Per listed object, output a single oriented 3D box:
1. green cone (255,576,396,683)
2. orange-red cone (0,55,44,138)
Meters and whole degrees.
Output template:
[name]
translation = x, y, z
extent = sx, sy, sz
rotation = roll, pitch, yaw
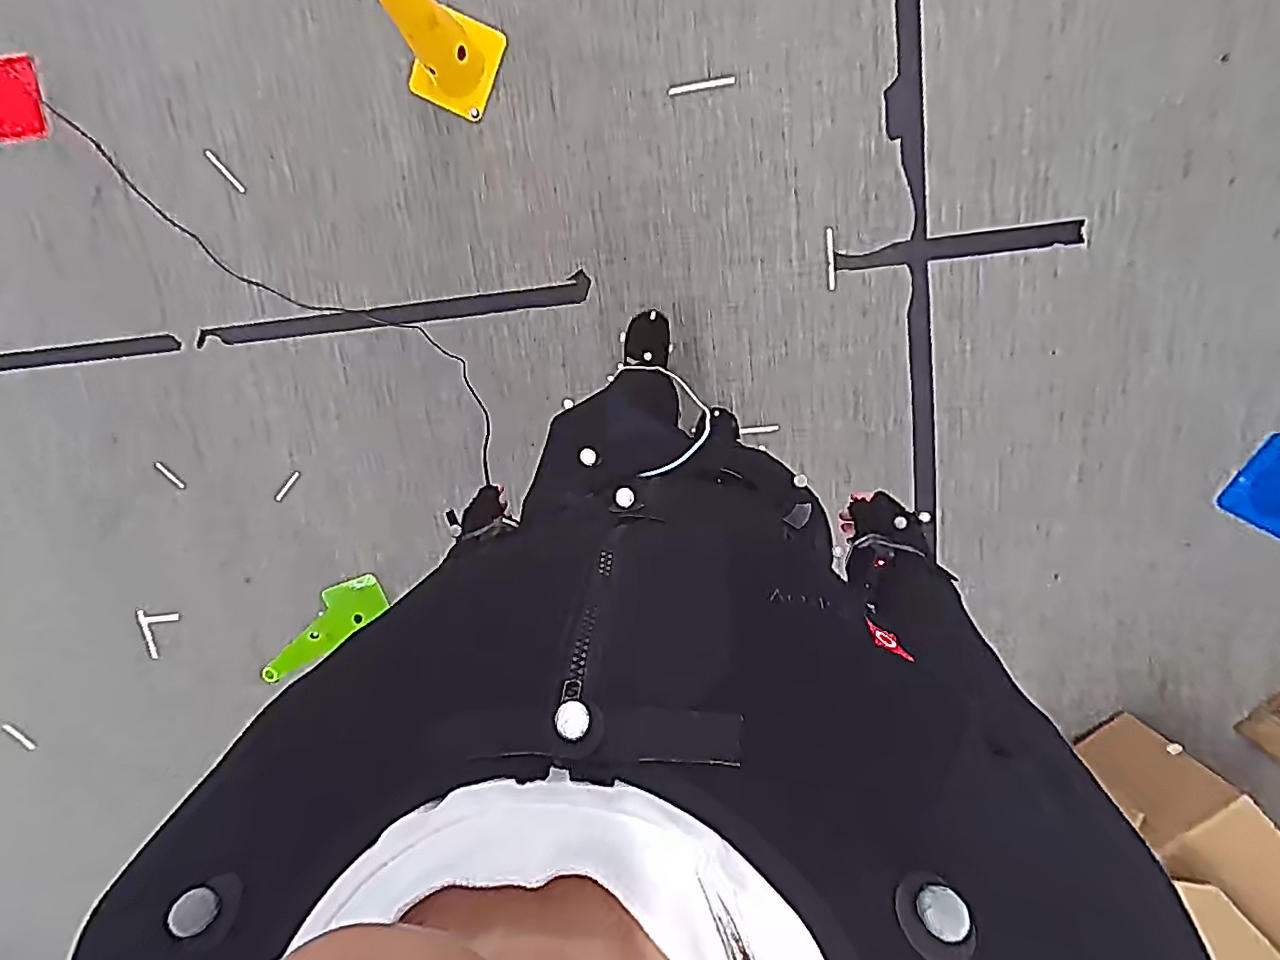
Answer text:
[green cone]
translation = -0.886, 0.435, 1.485
extent = 0.202, 0.368, 0.200
rotation = -20, 98, 13
[orange-red cone]
translation = -1.746, -1.008, 1.309
extent = 0.199, 0.360, 0.198
rotation = 3, 103, 7
